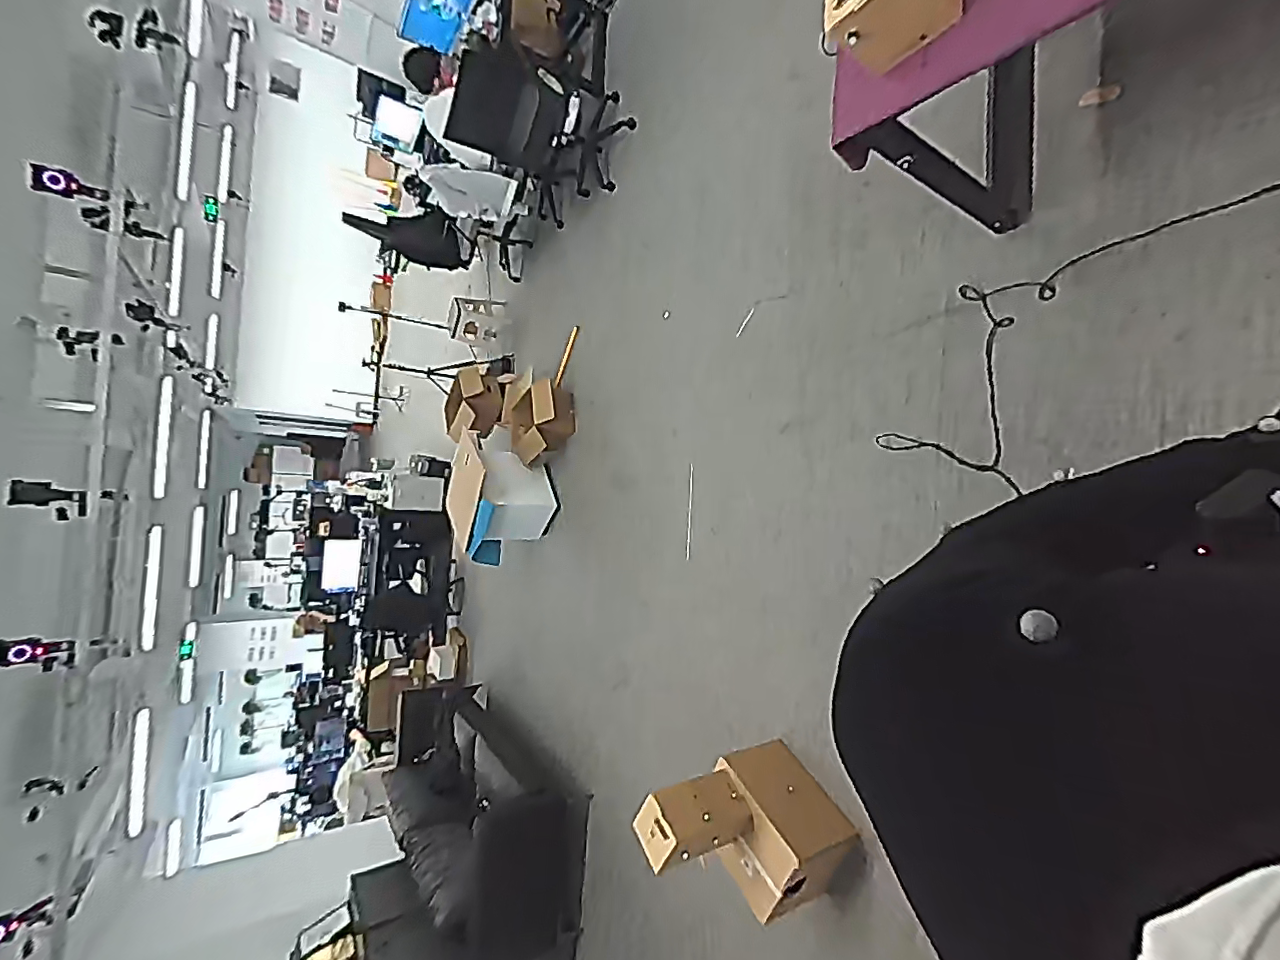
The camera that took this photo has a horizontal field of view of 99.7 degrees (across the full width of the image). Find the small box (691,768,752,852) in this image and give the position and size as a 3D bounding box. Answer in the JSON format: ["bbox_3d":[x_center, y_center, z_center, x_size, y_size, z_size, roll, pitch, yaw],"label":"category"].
[{"bbox_3d":[0.251,1.122,1.842,0.168,0.176,0.179,48,124,46],"label":"small box"}]

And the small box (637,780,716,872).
[{"bbox_3d":[0.121,1.108,1.744,0.168,0.176,0.179,48,125,46],"label":"small box"}]

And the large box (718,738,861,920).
[{"bbox_3d":[0.486,1.209,1.925,0.408,0.320,0.320,39,120,49],"label":"large box"}]
